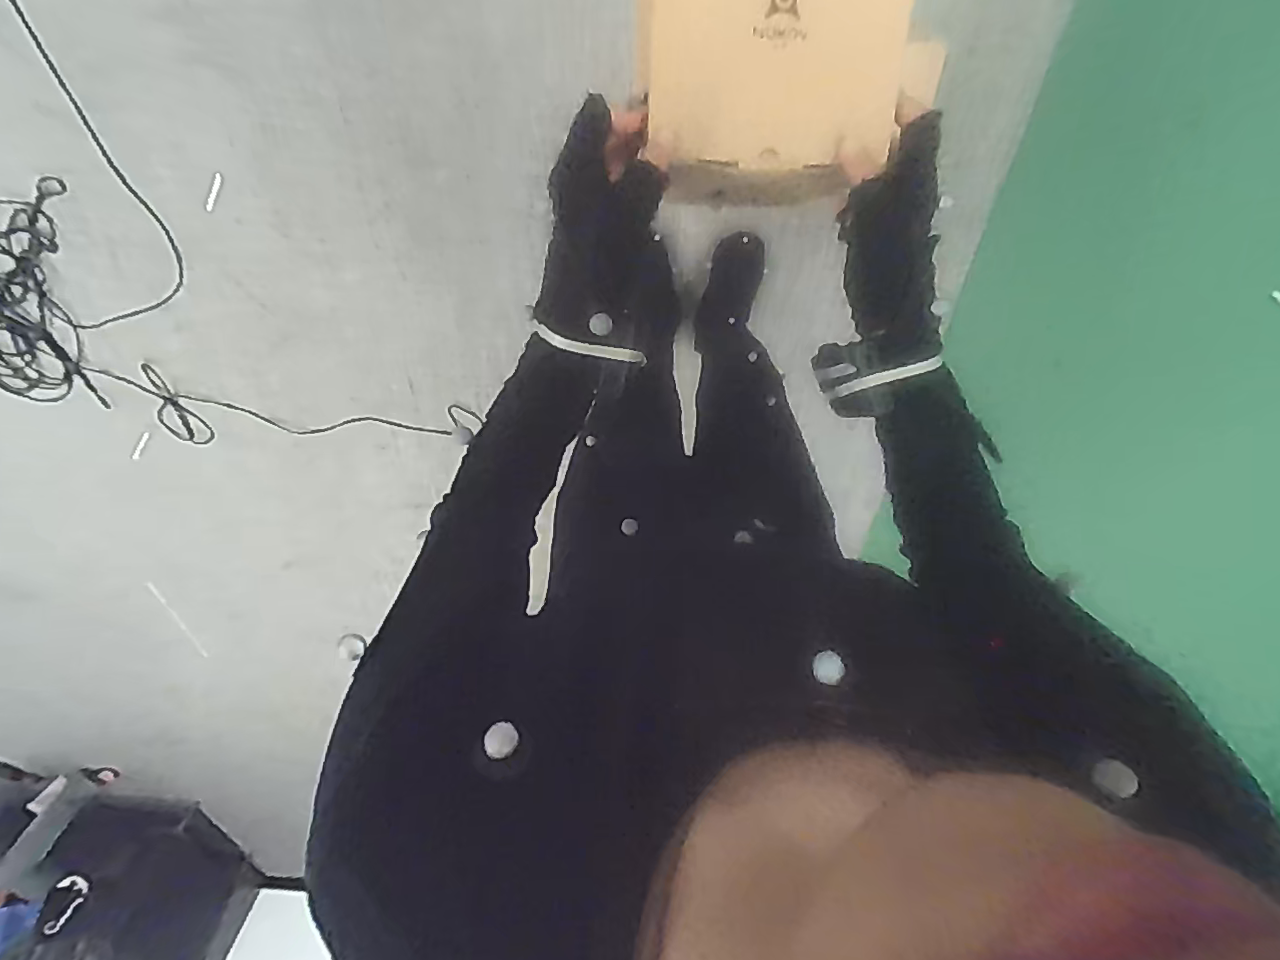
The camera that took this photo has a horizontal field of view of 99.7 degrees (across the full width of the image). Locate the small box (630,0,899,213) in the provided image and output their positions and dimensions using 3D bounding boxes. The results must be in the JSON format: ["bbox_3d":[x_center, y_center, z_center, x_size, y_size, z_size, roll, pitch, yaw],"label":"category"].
[{"bbox_3d":[0.078,-0.319,0.418,0.168,0.176,0.179,0,109,-3],"label":"small box"}]

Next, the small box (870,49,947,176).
[{"bbox_3d":[0.404,-0.653,0.960,0.168,0.176,0.179,2,126,3],"label":"small box"}]
